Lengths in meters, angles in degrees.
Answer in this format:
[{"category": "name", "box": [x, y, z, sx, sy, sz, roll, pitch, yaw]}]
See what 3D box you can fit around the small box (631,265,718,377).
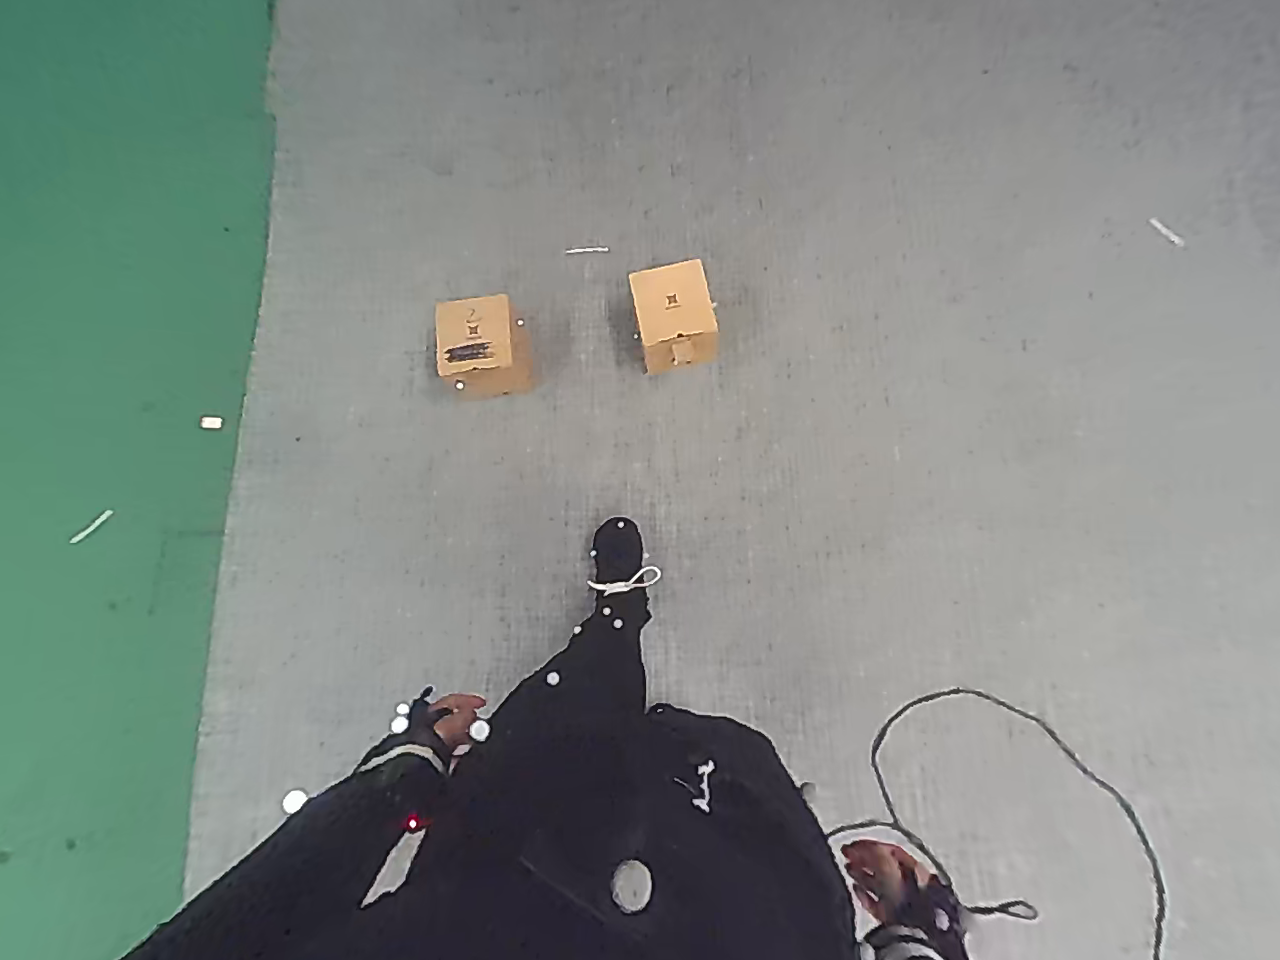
[{"category": "small box", "box": [0.075, -0.362, 1.253, 0.168, 0.176, 0.179, -12, 79, 1]}]
